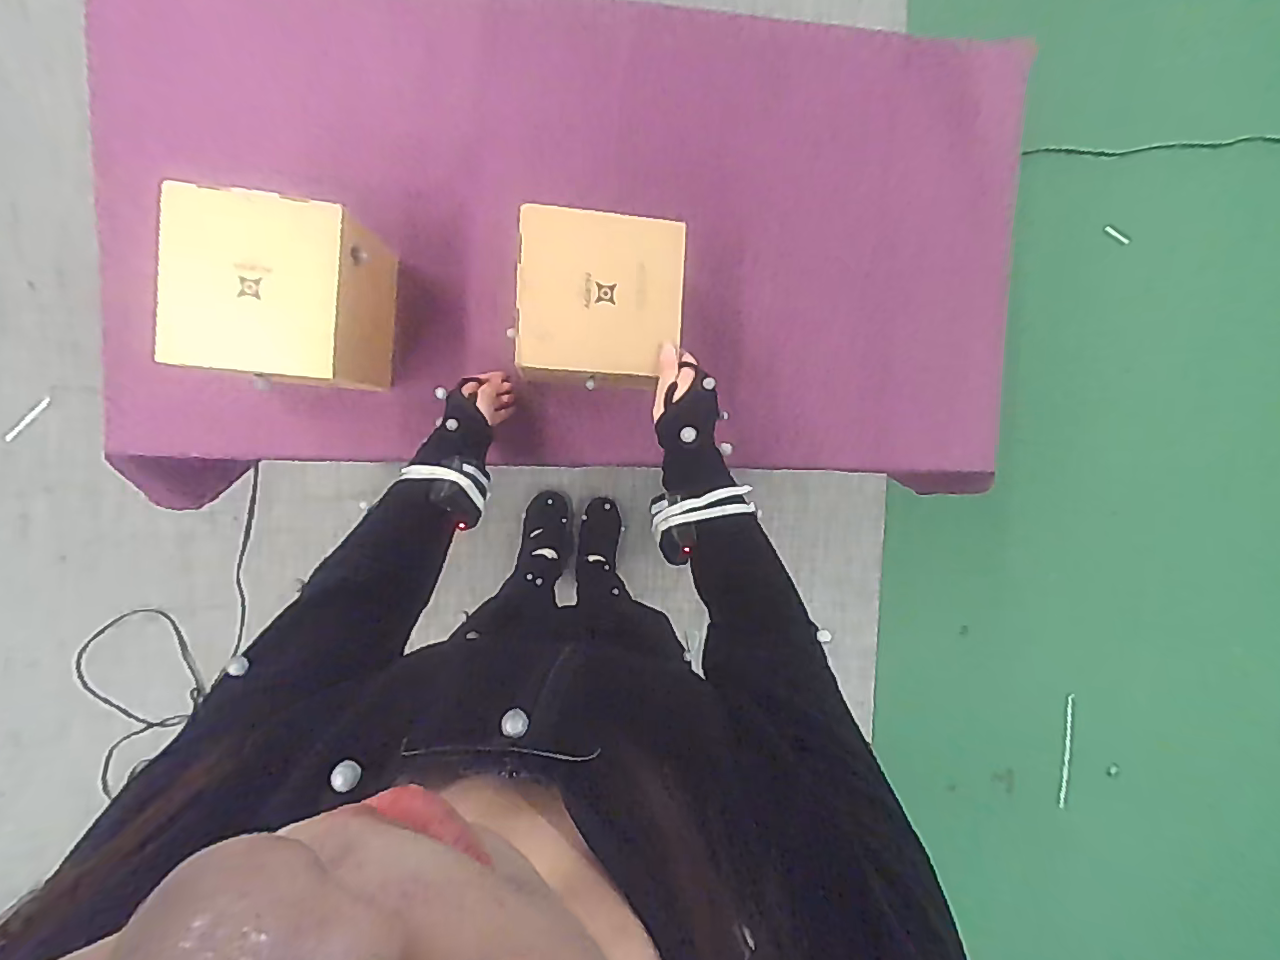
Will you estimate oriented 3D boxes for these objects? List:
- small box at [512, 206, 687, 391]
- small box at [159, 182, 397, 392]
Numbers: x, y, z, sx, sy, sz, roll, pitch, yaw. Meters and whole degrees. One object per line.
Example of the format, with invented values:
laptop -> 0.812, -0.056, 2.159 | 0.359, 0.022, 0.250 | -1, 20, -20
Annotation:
small box -> -0.053, -0.199, 0.646 | 0.179, 0.176, 0.168 | 3, 94, -10
small box -> -0.391, -0.199, 0.614 | 0.168, 0.176, 0.179 | 5, 92, -7
